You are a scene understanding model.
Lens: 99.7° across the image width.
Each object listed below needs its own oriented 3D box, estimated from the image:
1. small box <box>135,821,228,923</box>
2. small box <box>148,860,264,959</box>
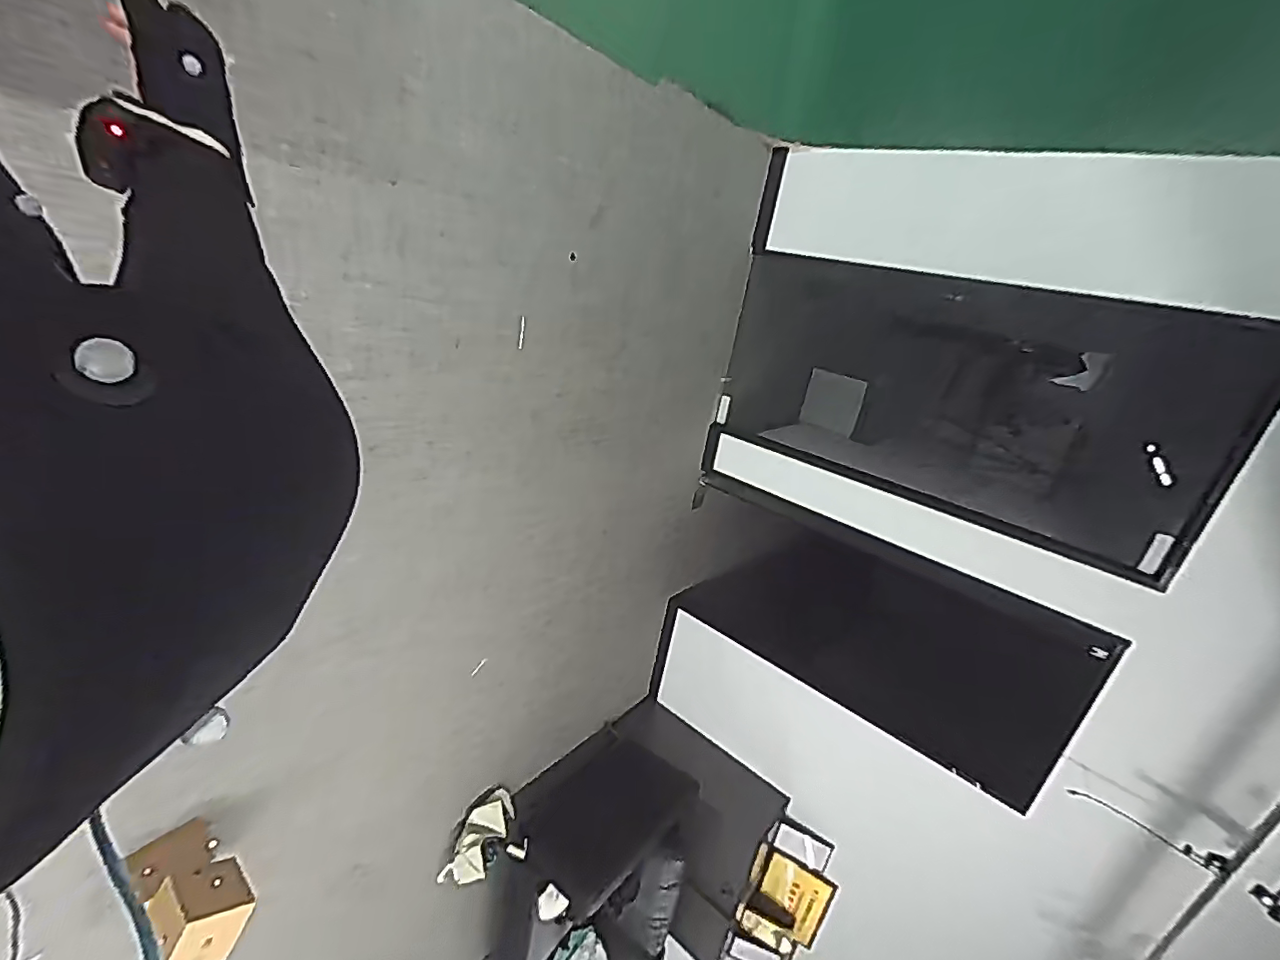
[{"bbox_3d":[-1.276,1.119,1.516,0.179,0.176,0.168,-23,129,-47],"label":"small box"},{"bbox_3d":[-1.156,1.155,1.435,0.179,0.176,0.168,-62,147,-4],"label":"small box"}]
